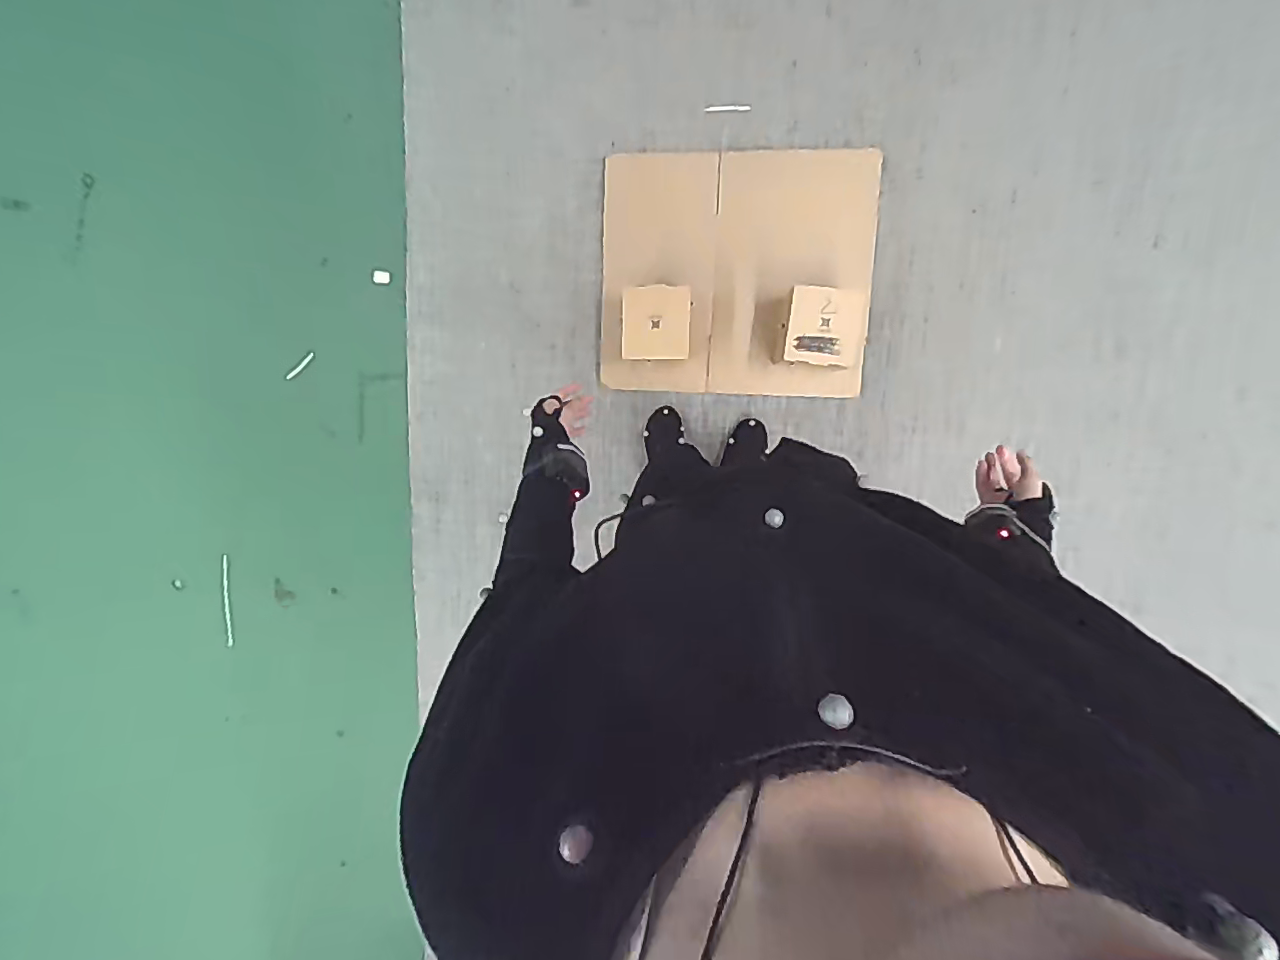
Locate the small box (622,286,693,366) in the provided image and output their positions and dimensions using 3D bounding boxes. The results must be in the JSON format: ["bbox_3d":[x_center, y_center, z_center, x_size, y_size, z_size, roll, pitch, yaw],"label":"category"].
[{"bbox_3d":[0.049,-0.383,1.369,0.168,0.176,0.179,1,97,7],"label":"small box"}]
